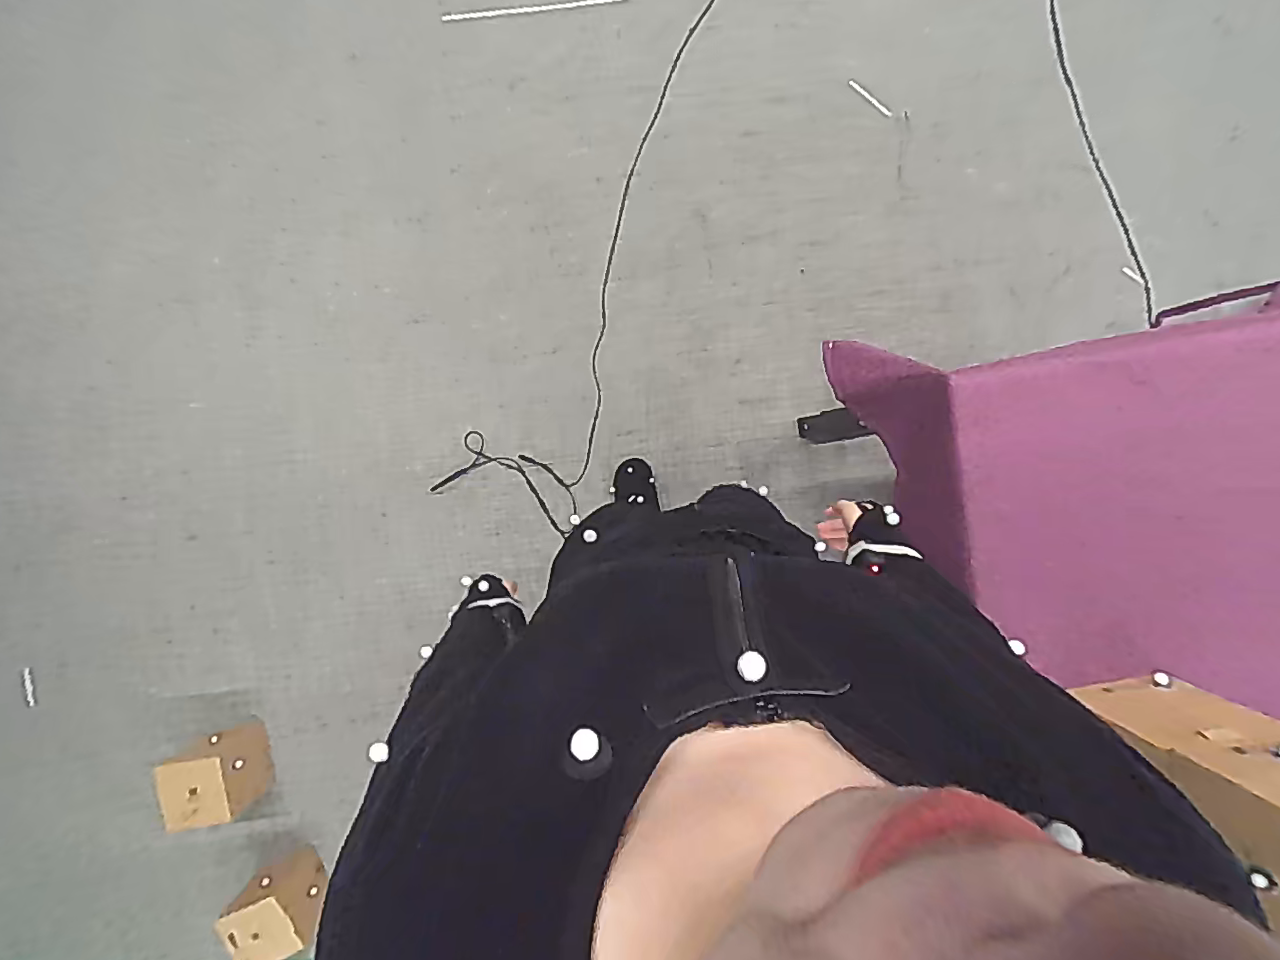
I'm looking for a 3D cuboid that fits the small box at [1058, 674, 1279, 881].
[{"bbox_3d":[0.703,0.377,0.723,0.168,0.176,0.179,-9,95,-1],"label":"small box"}]

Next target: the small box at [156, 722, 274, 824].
[{"bbox_3d":[-1.112,0.760,1.427,0.168,0.176,0.179,-8,94,0],"label":"small box"}]

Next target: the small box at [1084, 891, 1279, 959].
[{"bbox_3d":[0.759,0.709,0.747,0.168,0.176,0.179,-3,94,-1],"label":"small box"}]

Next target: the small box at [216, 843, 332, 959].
[{"bbox_3d":[-0.969,1.131,1.457,0.179,0.176,0.168,-25,94,0],"label":"small box"}]
